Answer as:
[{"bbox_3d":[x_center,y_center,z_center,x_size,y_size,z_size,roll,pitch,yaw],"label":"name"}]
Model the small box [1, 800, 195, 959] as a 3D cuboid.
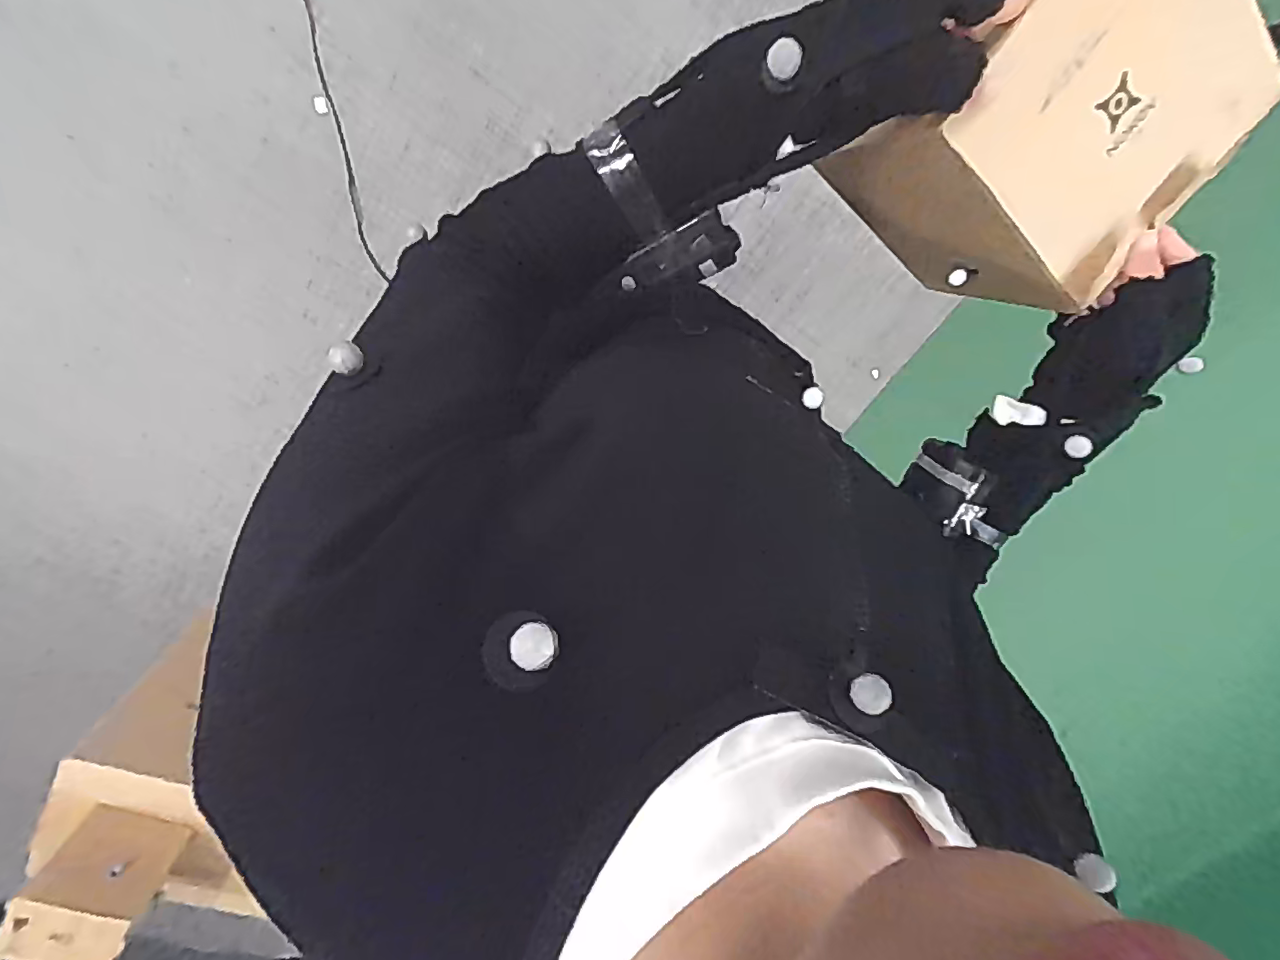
[{"bbox_3d":[-0.981,0.730,0.997,0.179,0.176,0.168,29,105,-19],"label":"small box"}]
